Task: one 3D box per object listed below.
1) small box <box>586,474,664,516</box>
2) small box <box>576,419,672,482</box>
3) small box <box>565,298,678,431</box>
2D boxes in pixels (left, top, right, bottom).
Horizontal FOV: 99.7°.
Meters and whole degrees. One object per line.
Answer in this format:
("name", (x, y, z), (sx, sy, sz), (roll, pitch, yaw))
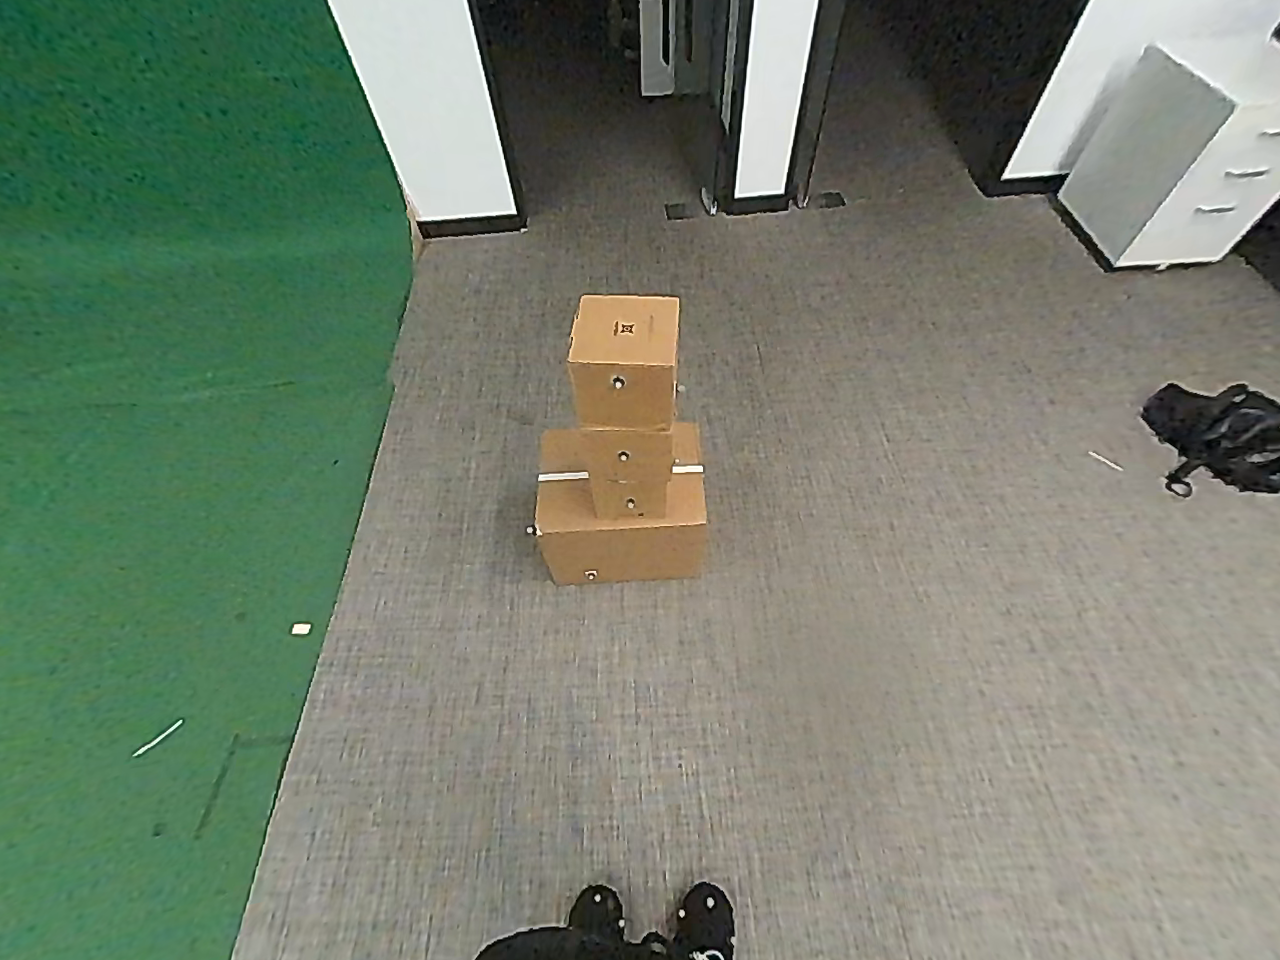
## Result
("small box", (-0.028, -0.026, 1.243), (0.168, 0.176, 0.179), (-1, 58, 2))
("small box", (-0.024, -0.108, 1.100), (0.179, 0.176, 0.168), (1, 57, 4))
("small box", (-0.025, -0.203, 0.969), (0.179, 0.176, 0.168), (4, 59, 3))
